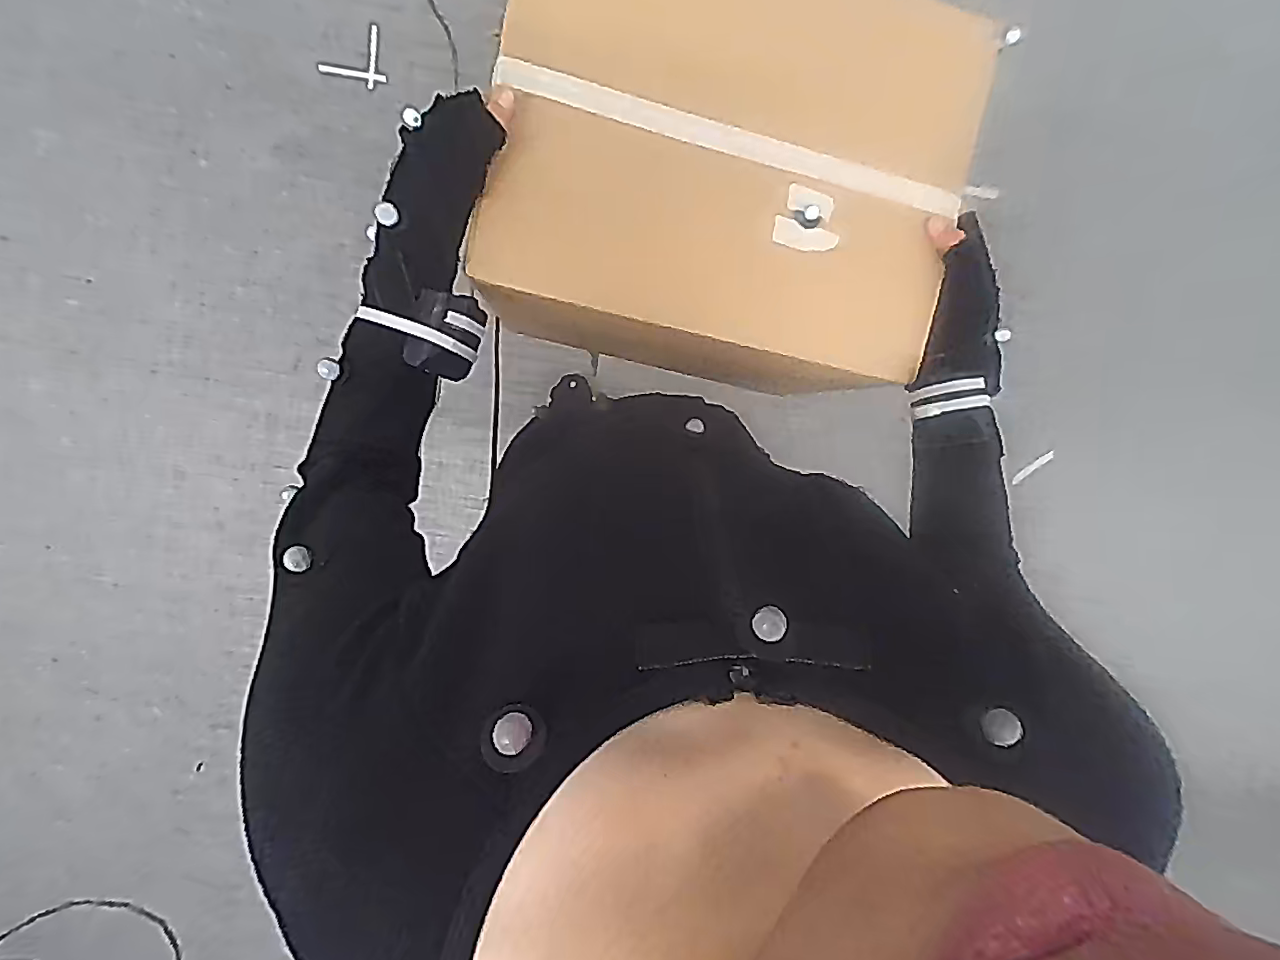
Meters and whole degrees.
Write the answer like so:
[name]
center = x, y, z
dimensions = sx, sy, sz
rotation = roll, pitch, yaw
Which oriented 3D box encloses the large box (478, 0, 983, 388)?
[large box]
center = 0.064, -0.302, 0.608
dimensions = 0.408, 0.320, 0.320
rotation = 11, 95, -9
